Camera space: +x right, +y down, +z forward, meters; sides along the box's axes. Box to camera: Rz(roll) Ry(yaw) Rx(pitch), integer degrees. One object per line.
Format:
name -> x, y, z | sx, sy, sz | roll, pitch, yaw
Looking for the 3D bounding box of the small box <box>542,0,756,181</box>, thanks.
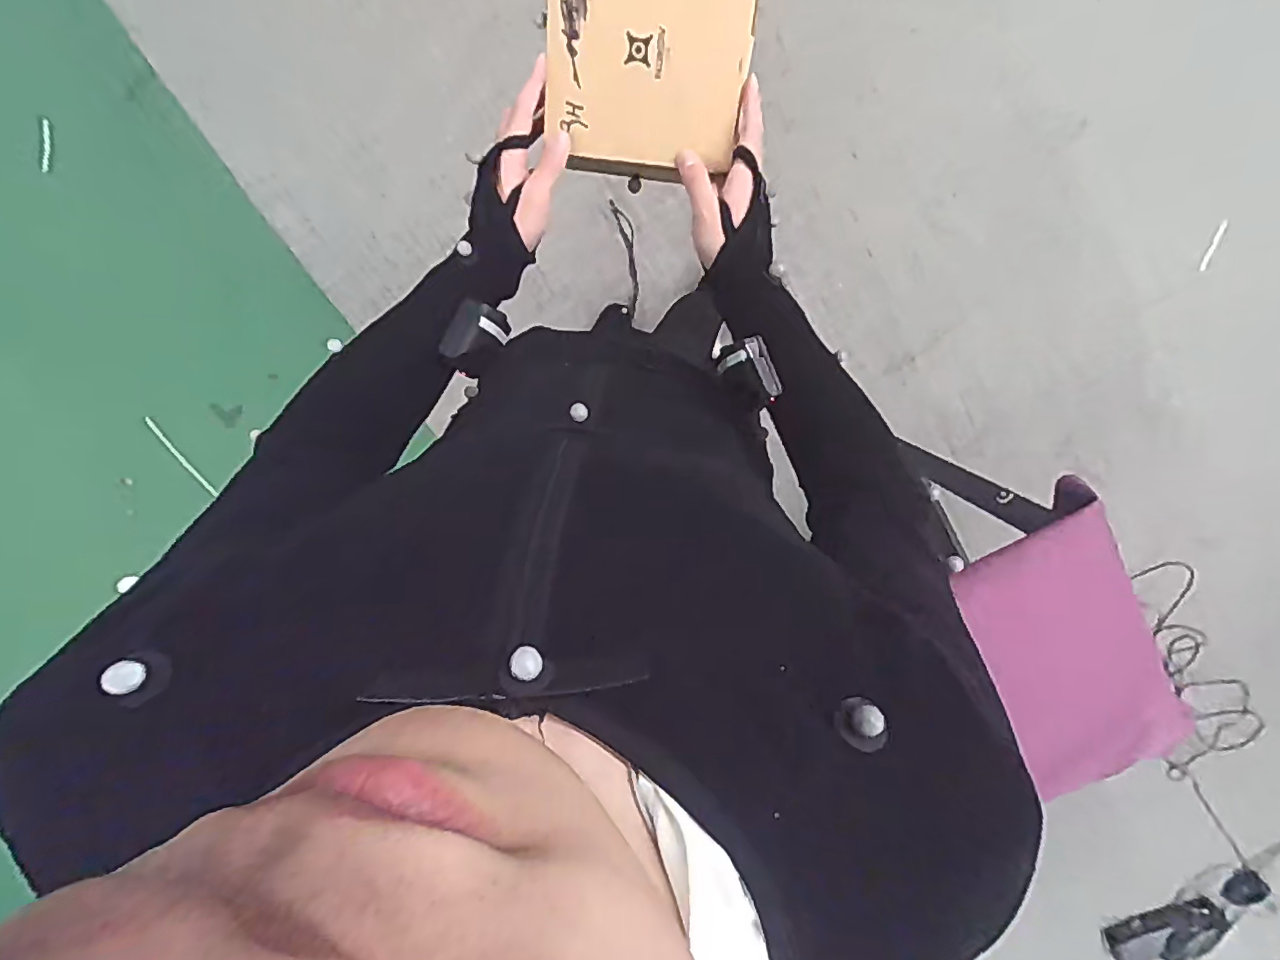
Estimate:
small box -> 0.002, -0.402, 0.536 | 0.179, 0.176, 0.168 | 5, 115, -4
